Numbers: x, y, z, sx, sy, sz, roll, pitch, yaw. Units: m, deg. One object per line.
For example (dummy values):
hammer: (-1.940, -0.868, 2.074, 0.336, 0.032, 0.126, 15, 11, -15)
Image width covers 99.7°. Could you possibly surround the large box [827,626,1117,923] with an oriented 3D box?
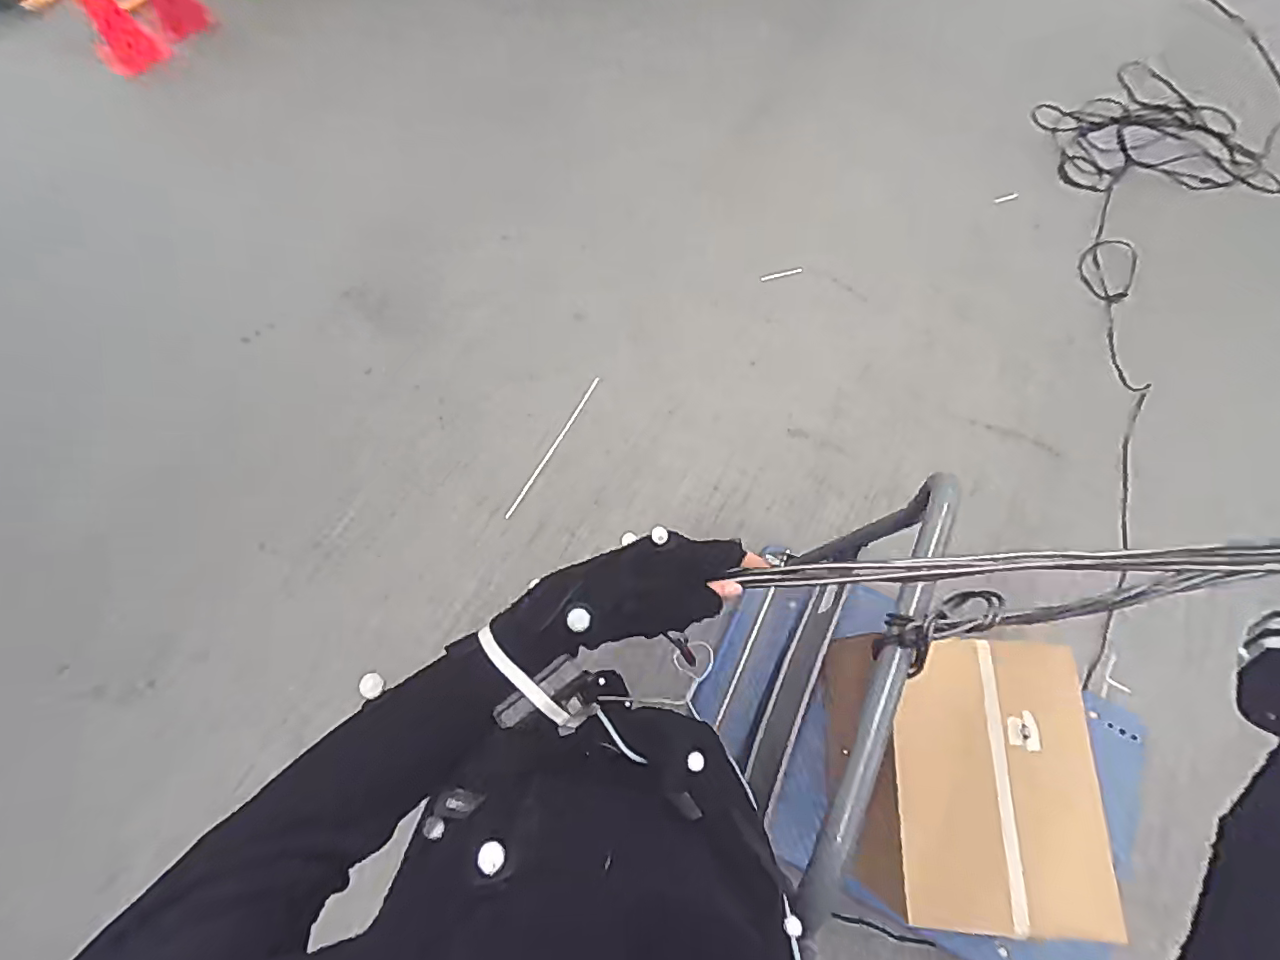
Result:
large box: (0.547, 0.496, 0.985, 0.320, 0.320, 0.408, 5, 70, 0)
